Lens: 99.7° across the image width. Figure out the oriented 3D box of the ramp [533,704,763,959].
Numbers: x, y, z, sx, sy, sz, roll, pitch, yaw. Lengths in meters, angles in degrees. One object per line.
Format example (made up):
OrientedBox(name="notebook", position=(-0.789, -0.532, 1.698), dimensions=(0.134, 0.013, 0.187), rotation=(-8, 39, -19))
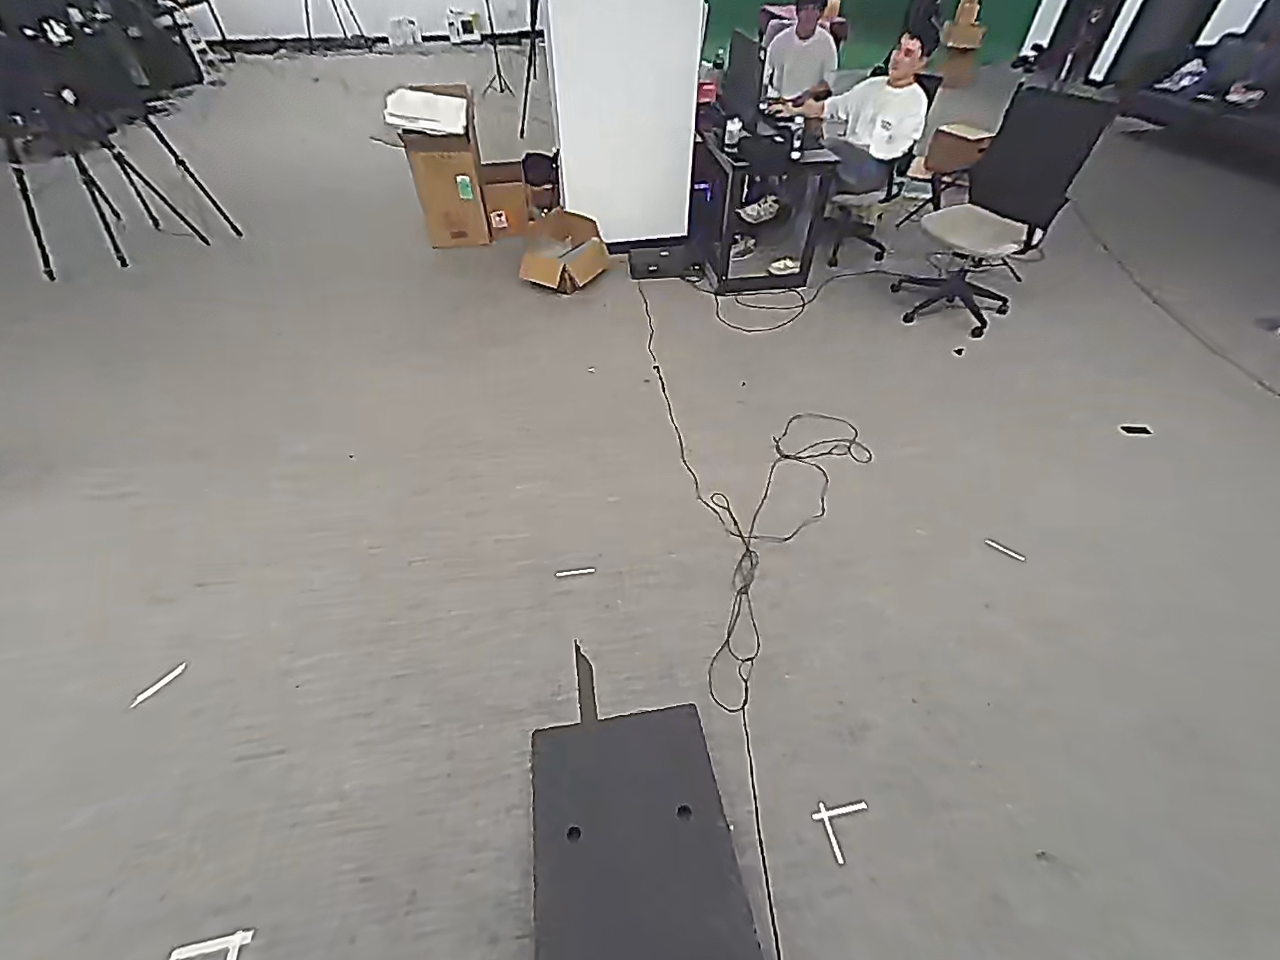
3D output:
OrientedBox(name="ramp", position=(0.008, 1.003, 1.214), dimensions=(0.509, 0.206, 0.991), rotation=(-9, 47, -7))
